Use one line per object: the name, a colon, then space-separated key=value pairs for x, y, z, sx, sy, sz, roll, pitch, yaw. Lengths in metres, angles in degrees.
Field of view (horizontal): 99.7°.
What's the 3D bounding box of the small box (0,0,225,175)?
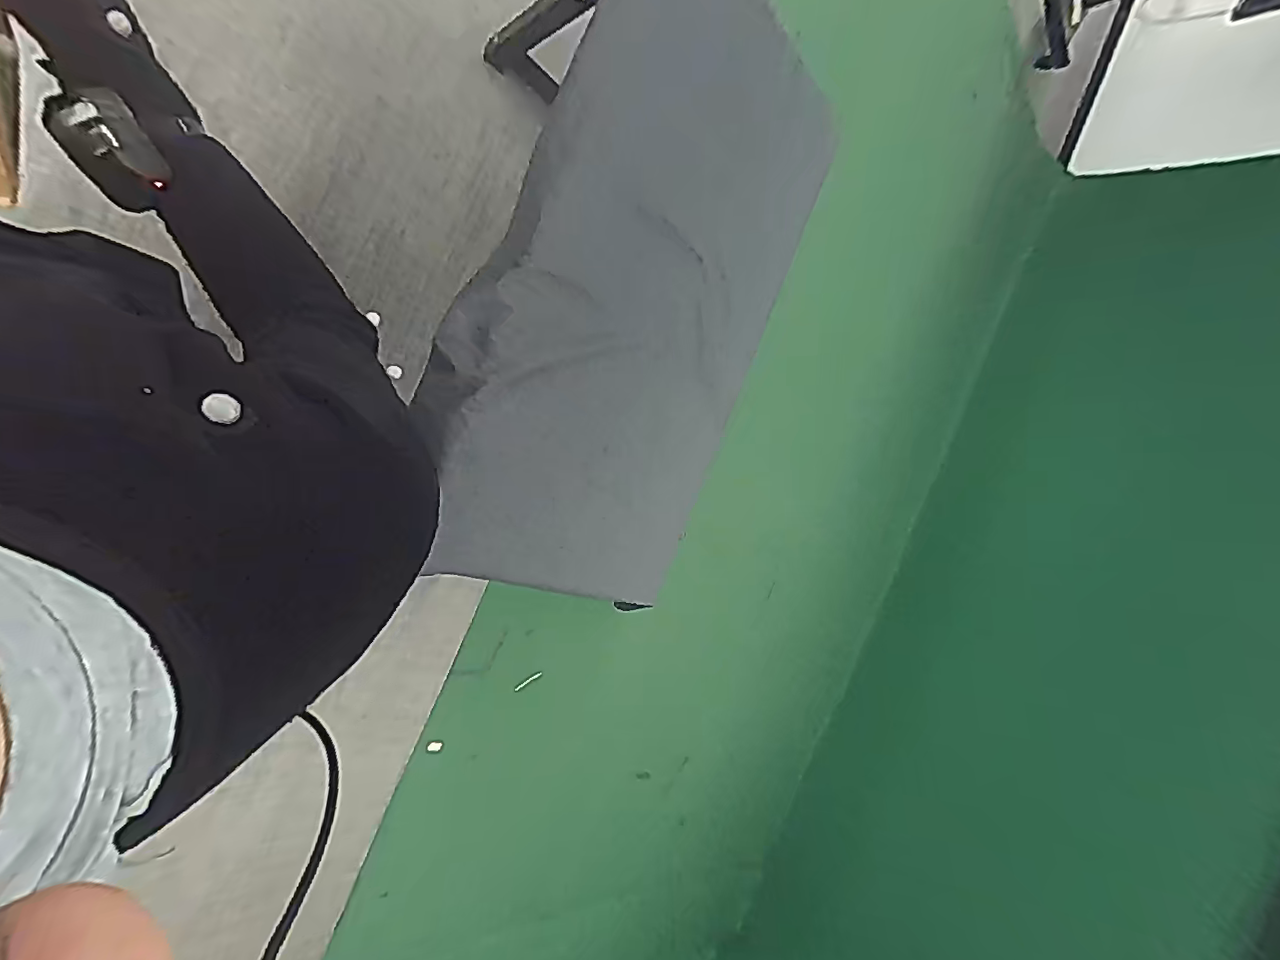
small box: x=-0.396 y=-0.338 z=0.319 sx=0.176 sy=0.168 sz=0.179 roll=-47 pitch=166 yaw=12
